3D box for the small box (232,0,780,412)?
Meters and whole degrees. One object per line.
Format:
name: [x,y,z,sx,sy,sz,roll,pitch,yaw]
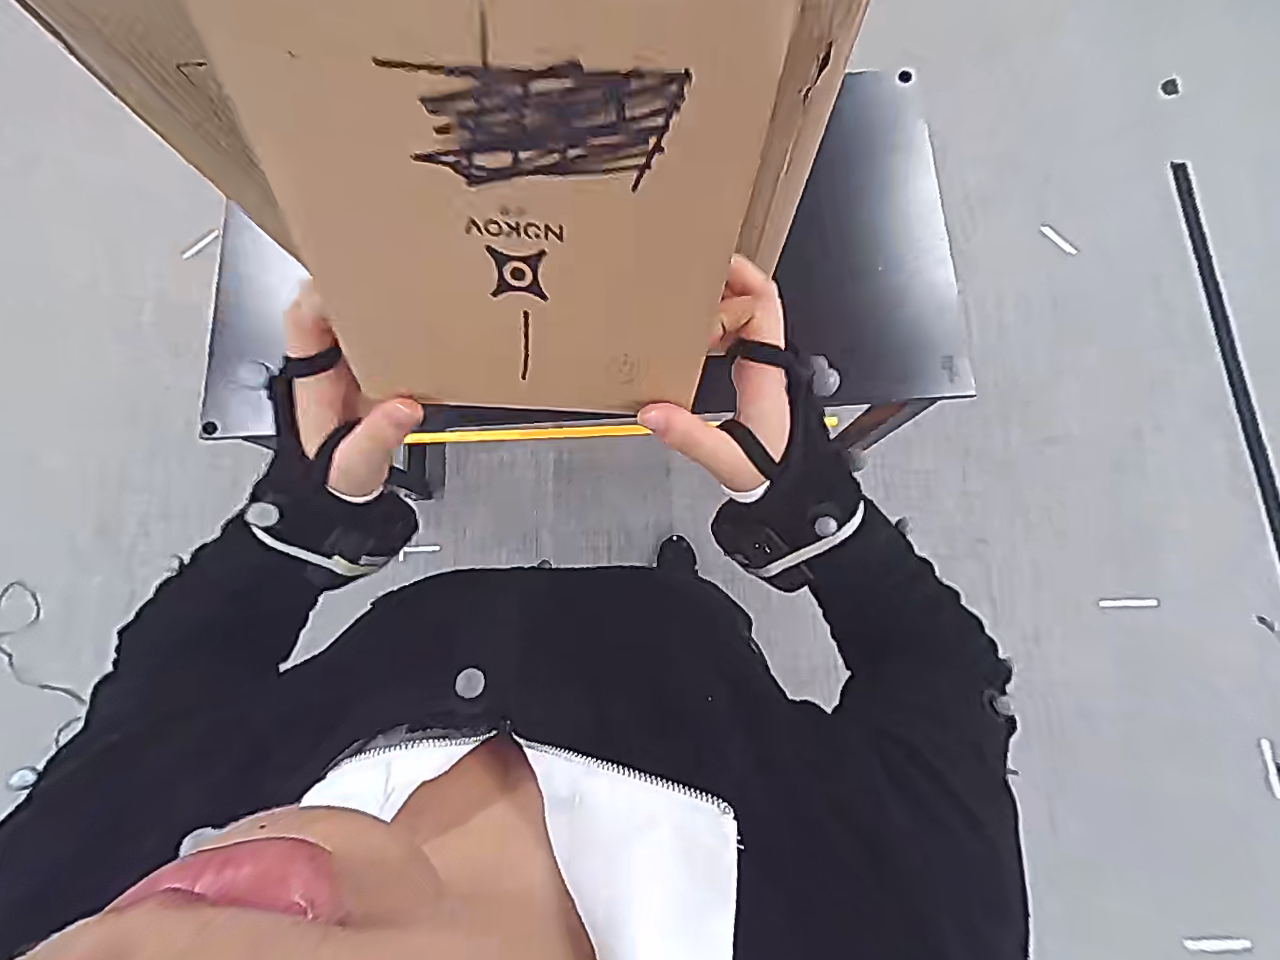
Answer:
small box: [-0.050,-0.157,0.266,0.168,0.179,0.176,3,49,-6]
